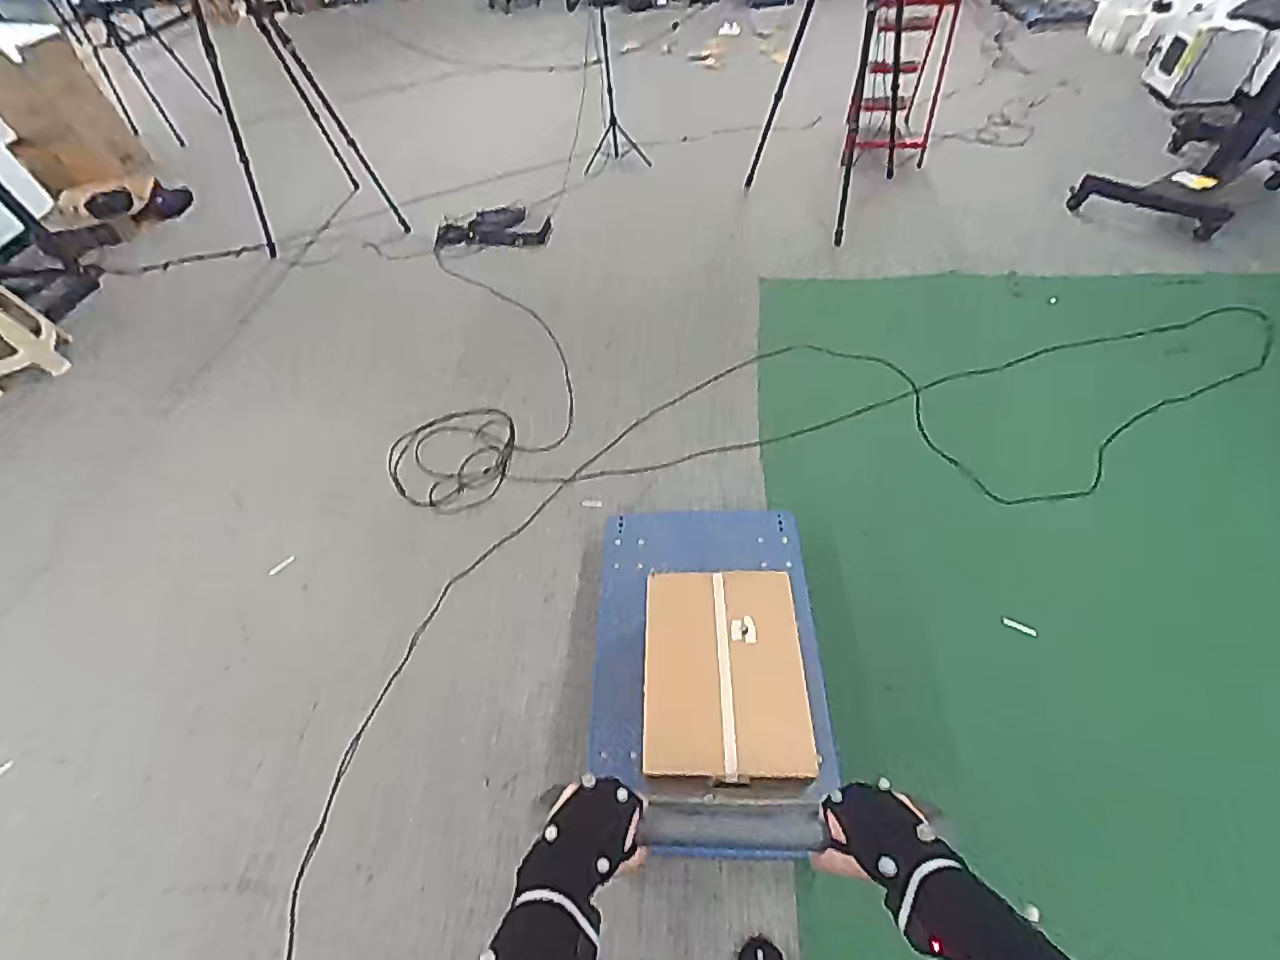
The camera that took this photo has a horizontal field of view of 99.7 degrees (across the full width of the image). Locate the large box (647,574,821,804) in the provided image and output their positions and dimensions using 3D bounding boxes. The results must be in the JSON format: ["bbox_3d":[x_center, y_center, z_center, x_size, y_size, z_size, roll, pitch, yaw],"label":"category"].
[{"bbox_3d":[0.183,0.463,1.196,0.320,0.320,0.408,-1,51,4],"label":"large box"}]
